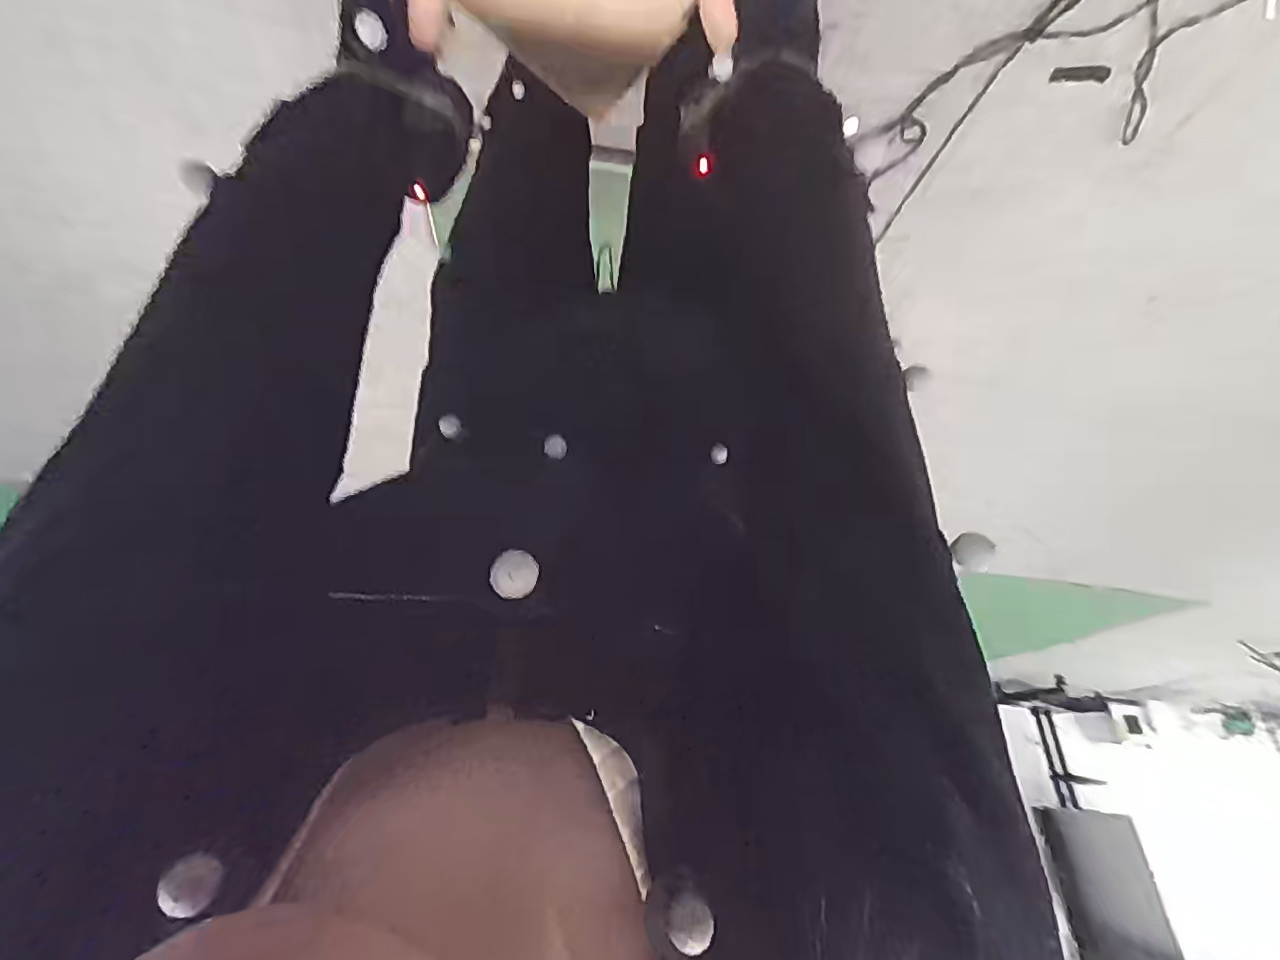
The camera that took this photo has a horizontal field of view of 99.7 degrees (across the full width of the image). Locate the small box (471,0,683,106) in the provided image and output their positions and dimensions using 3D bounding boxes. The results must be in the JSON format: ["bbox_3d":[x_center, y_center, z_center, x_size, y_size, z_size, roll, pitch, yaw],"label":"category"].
[{"bbox_3d":[-0.043,-0.432,0.378,0.179,0.176,0.168,24,150,-34],"label":"small box"}]
